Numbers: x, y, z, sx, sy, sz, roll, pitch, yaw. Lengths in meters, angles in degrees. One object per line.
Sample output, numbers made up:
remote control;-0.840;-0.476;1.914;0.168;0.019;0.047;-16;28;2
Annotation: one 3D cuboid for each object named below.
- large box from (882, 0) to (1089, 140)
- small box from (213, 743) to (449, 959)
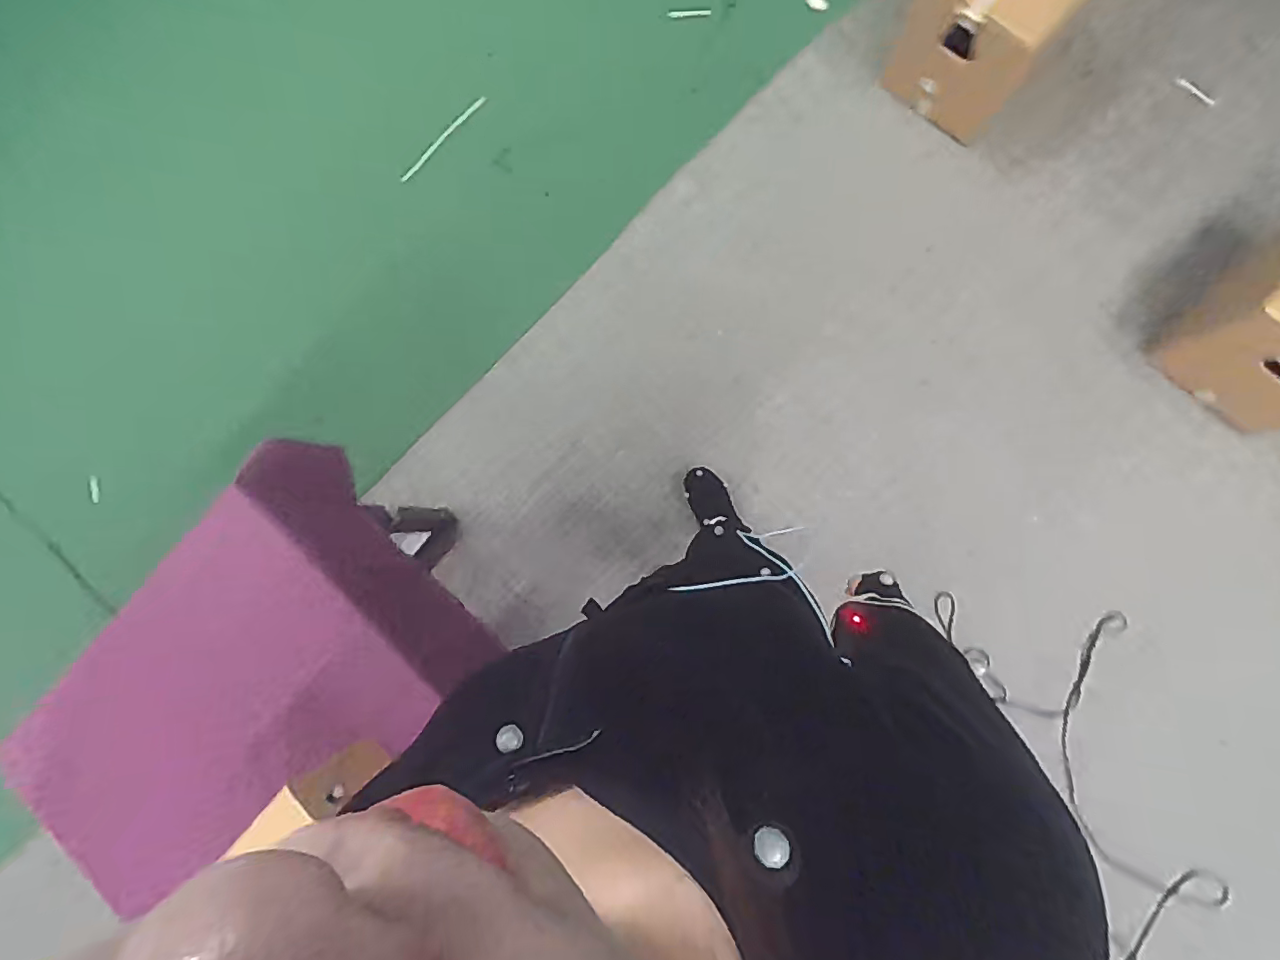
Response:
large box;0.904;-1.190;1.372;0.320;0.320;0.408;43;90;9
small box;-0.401;0.489;0.729;0.179;0.176;0.168;41;92;9
